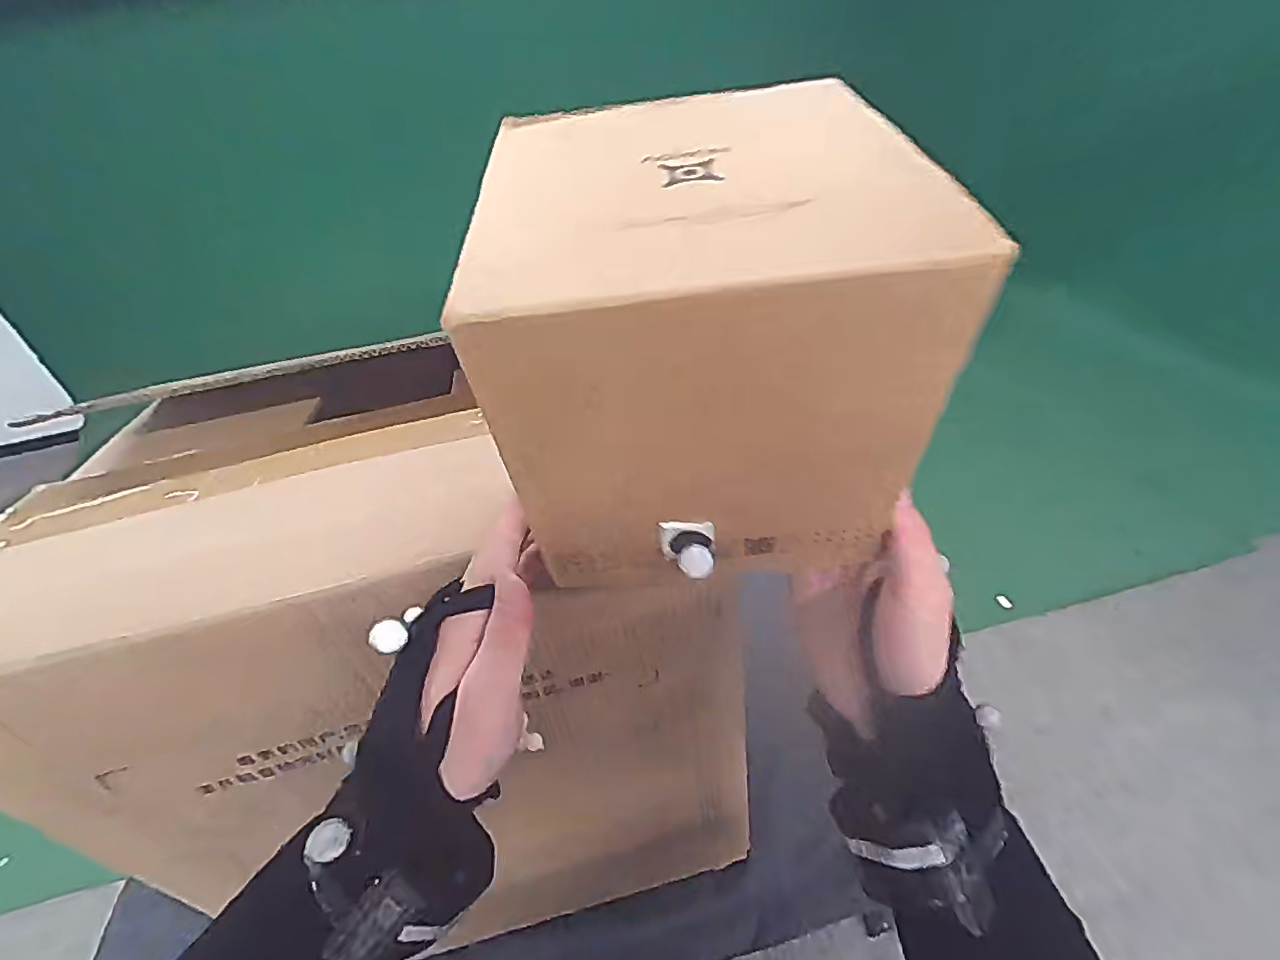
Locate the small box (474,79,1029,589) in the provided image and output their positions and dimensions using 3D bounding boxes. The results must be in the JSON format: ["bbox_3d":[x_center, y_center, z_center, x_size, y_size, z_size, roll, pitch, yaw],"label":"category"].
[{"bbox_3d":[0.031,-0.068,0.271,0.168,0.176,0.179,-8,51,0],"label":"small box"}]
